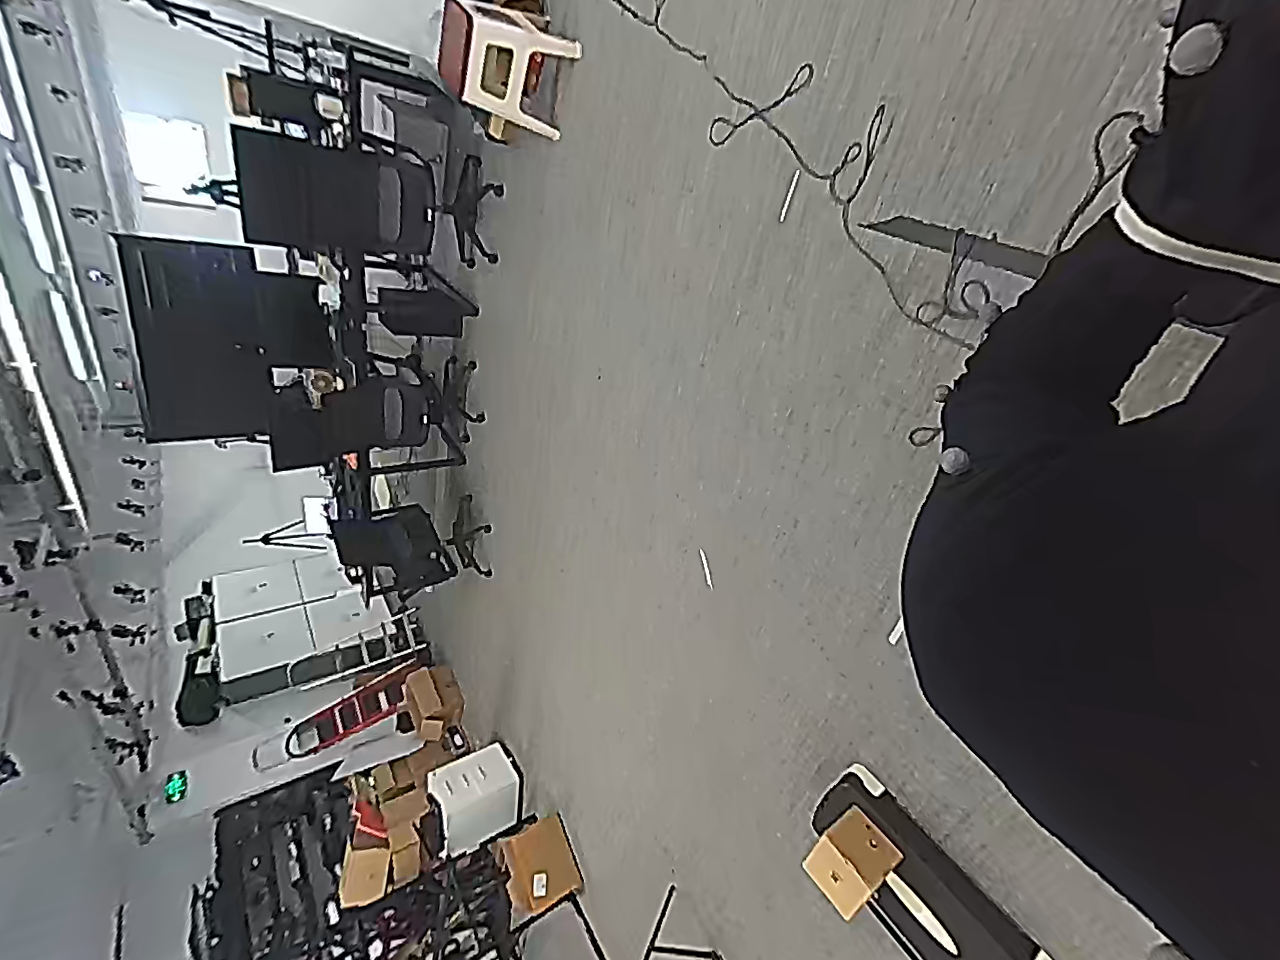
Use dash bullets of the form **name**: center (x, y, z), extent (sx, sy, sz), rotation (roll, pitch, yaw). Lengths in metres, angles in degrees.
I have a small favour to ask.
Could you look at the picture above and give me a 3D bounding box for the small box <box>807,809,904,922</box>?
- **small box**: center (0.617, 1.096, 1.547), extent (0.168, 0.176, 0.179), rotation (40, 128, 40)
